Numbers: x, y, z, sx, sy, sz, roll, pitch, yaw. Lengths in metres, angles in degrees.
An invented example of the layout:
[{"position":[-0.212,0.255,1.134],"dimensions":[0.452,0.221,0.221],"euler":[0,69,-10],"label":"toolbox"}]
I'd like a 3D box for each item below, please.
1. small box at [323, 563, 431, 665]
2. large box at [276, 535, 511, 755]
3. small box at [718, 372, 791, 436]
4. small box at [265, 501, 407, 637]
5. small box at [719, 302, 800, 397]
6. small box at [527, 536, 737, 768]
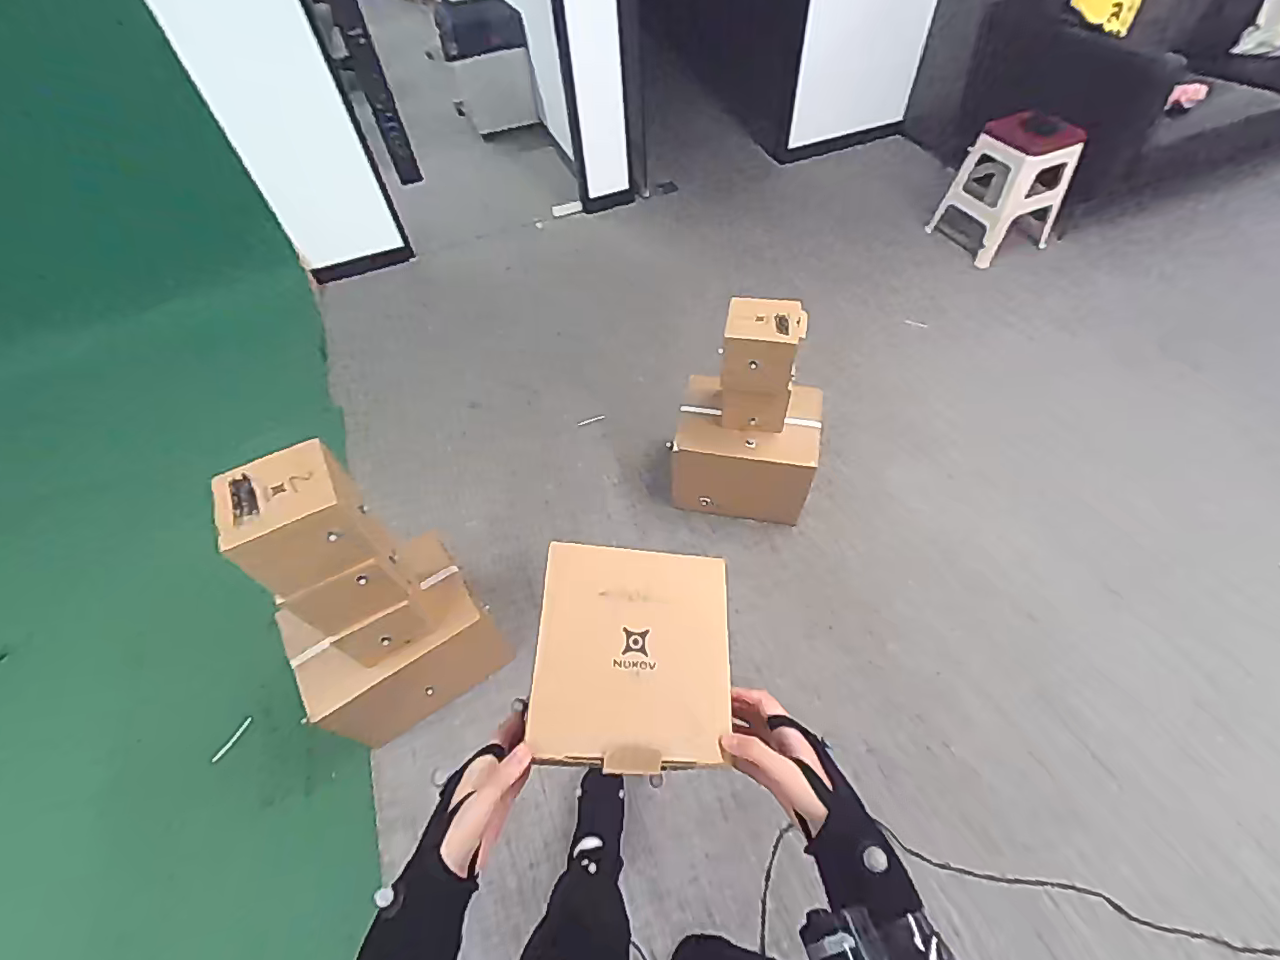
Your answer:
[{"position":[-0.580,0.281,1.180],"dimensions":[0.168,0.176,0.179],"euler":[-26,56,-16],"label":"small box"},{"position":[-0.608,0.421,1.384],"dimensions":[0.408,0.320,0.320],"euler":[-32,57,-18],"label":"large box"},{"position":[0.320,-0.242,1.521],"dimensions":[0.179,0.176,0.168],"euler":[6,52,6],"label":"small box"},{"position":[-0.587,0.178,1.055],"dimensions":[0.179,0.176,0.168],"euler":[-25,56,-16],"label":"small box"},{"position":[0.302,-0.330,1.382],"dimensions":[0.179,0.176,0.168],"euler":[8,53,11],"label":"small box"},{"position":[-0.013,0.174,0.519],"dimensions":[0.168,0.176,0.179],"euler":[8,59,-8],"label":"small box"}]
